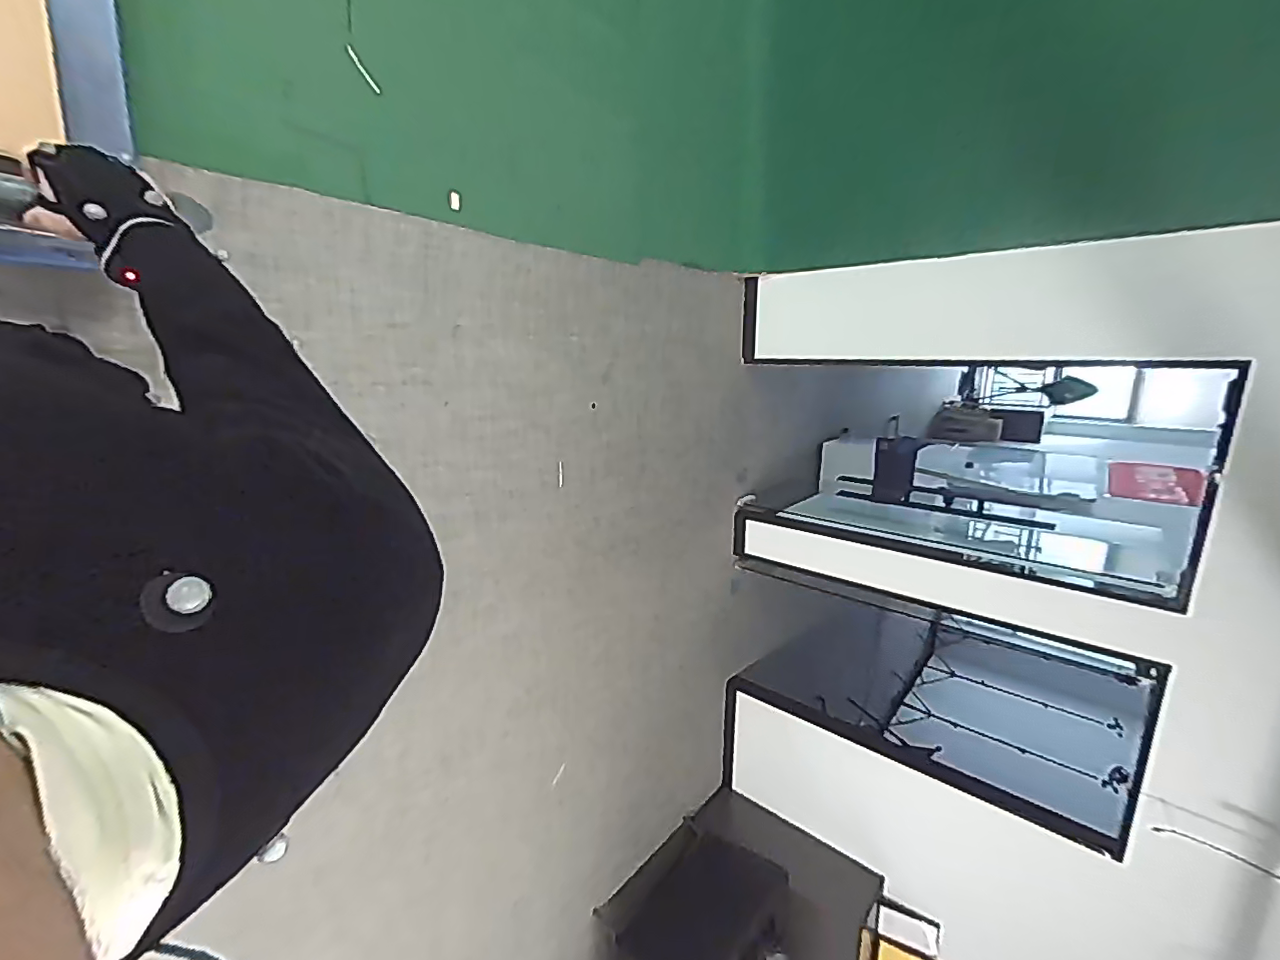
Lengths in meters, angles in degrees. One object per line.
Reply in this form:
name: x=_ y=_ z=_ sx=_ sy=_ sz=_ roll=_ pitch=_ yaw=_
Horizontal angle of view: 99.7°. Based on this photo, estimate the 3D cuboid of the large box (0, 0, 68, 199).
large box: x=-1.042 y=-0.655 z=0.732 sx=0.320 sy=0.320 sz=0.408 roll=-11 pitch=107 yaw=-49
